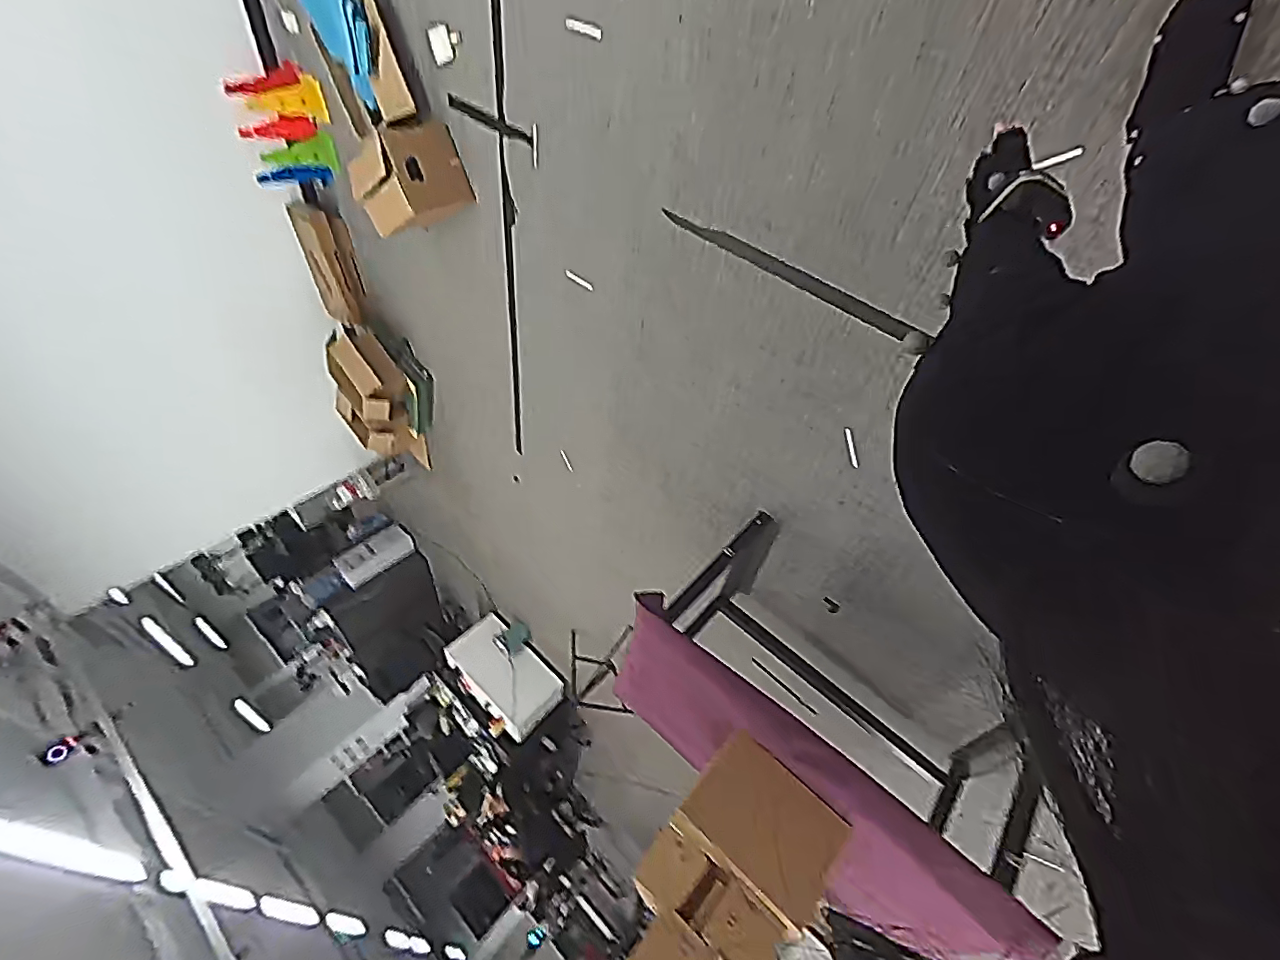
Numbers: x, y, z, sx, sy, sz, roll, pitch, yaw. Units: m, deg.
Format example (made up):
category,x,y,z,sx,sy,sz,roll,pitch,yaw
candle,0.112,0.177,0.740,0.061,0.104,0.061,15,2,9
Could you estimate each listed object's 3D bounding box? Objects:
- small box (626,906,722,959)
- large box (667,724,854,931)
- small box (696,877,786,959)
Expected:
category,x,y,z,sx,sy,sz,roll,pitch,yaw
small box,0.081,1.223,1.370,0.179,0.176,0.168,34,141,25
large box,0.346,1.027,1.611,0.408,0.320,0.320,37,141,24
small box,0.259,1.183,1.417,0.168,0.176,0.179,37,144,25
